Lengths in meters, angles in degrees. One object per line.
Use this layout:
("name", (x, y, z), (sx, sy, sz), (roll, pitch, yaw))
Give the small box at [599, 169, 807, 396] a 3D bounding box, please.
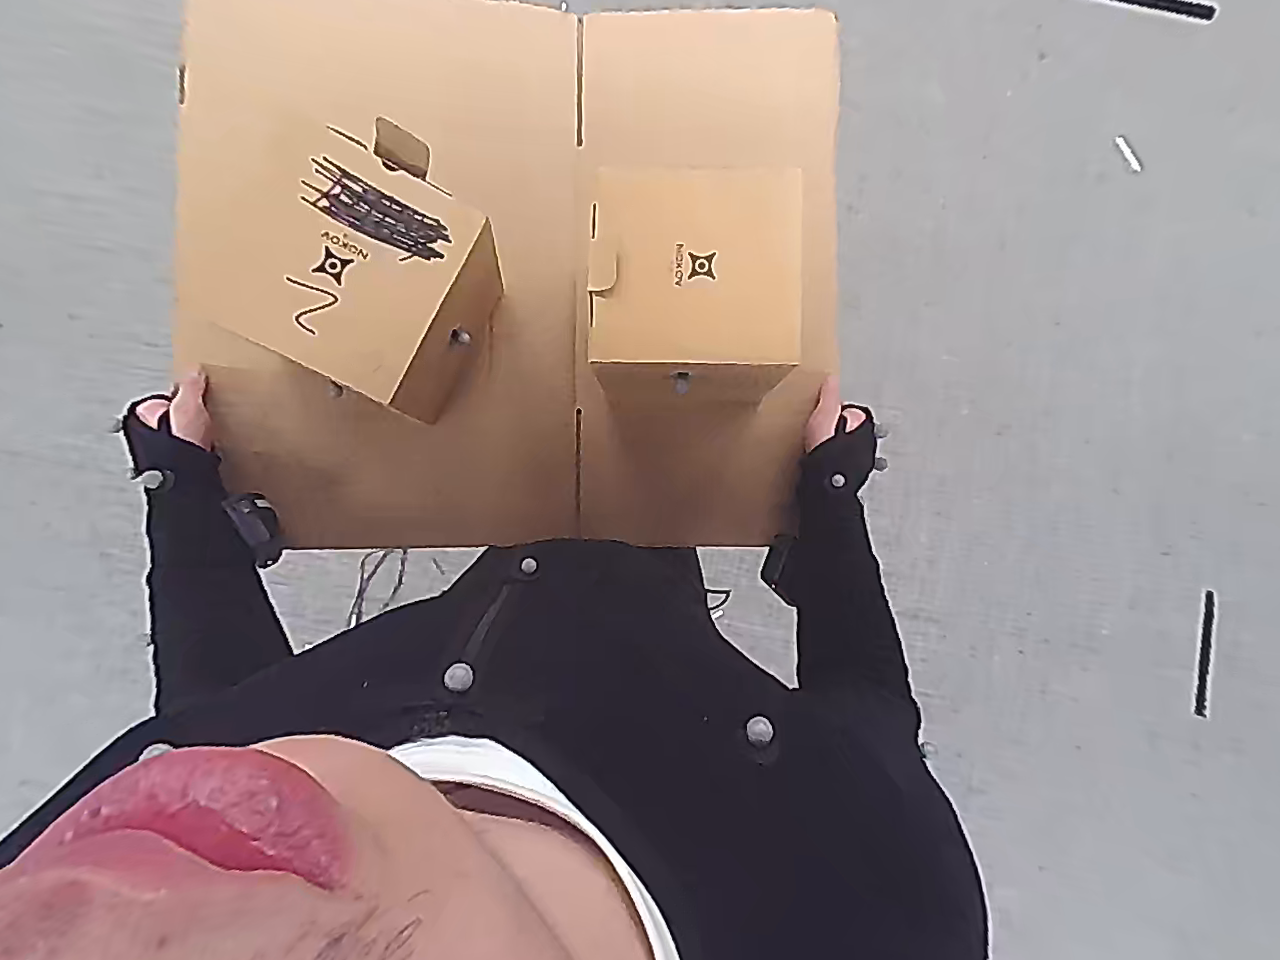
("small box", (0.056, -0.181, 0.539), (0.179, 0.176, 0.168), (1, 89, 3))
